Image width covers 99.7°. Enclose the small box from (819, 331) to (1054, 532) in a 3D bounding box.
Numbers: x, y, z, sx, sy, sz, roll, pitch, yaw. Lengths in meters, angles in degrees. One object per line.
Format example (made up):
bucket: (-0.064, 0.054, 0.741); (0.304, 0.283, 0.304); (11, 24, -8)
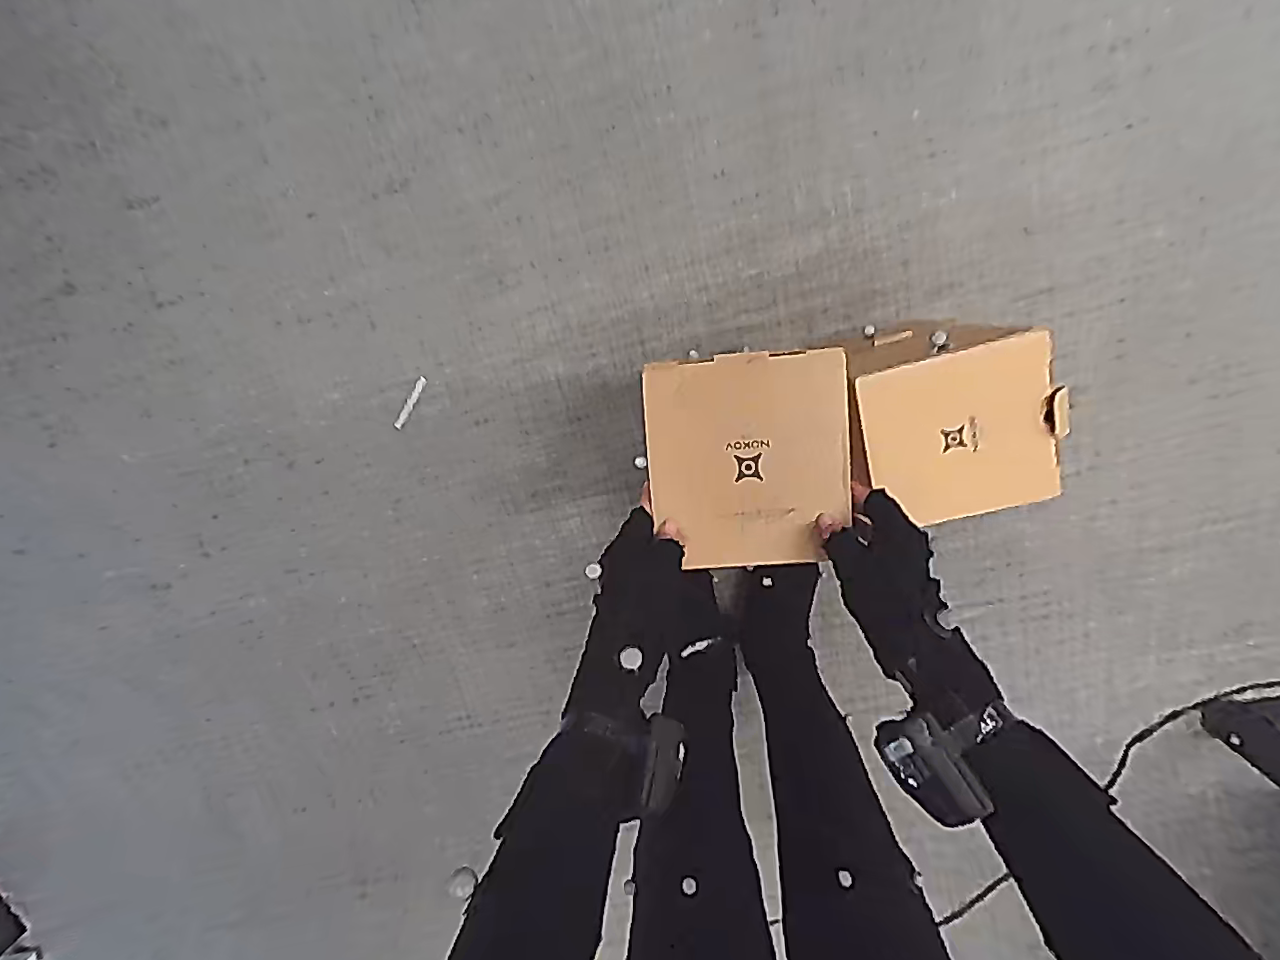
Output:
small box: (0.311, -0.062, 0.602); (0.179, 0.176, 0.168); (-14, 105, 8)
